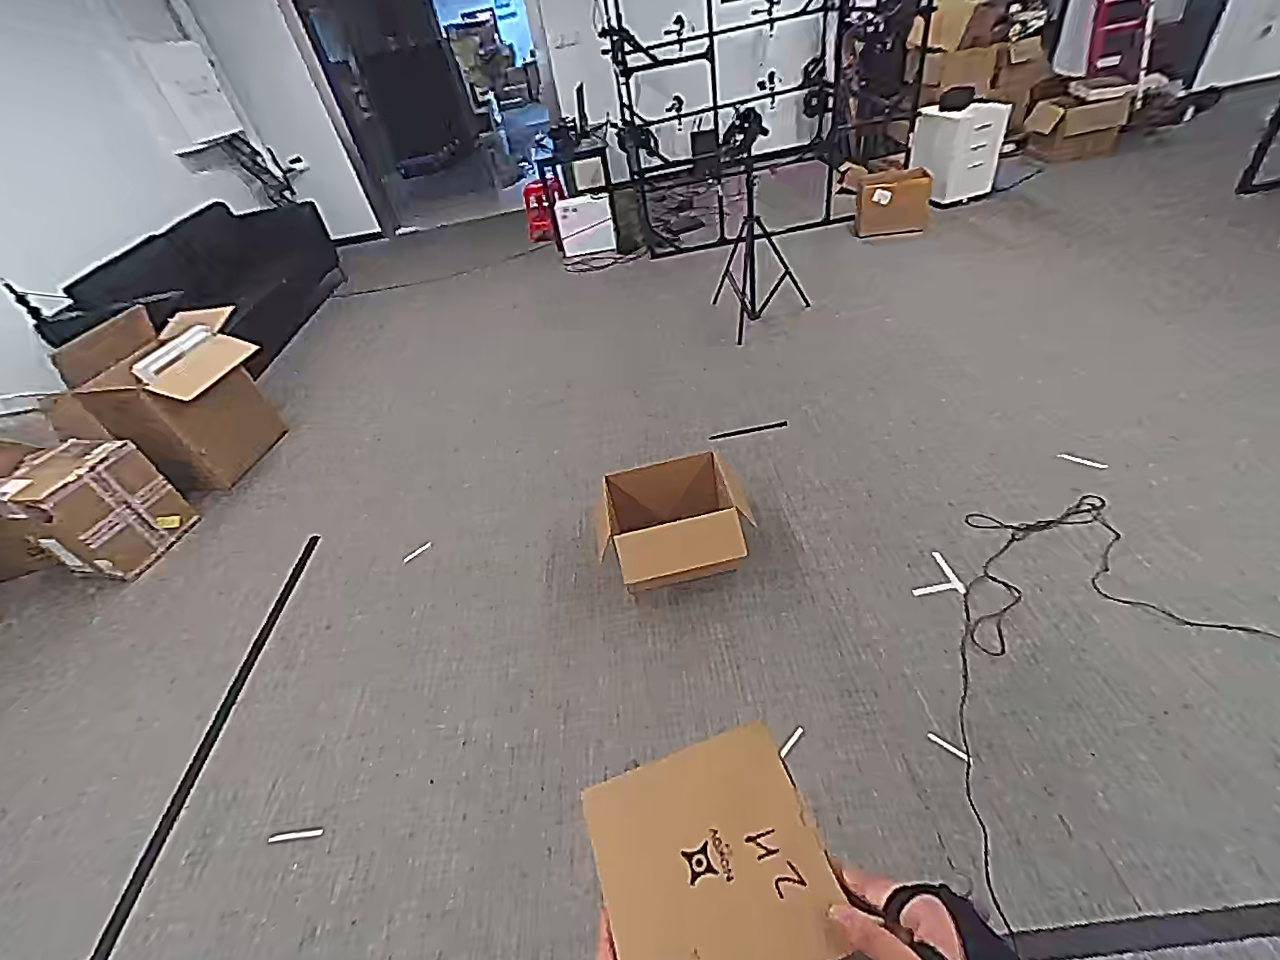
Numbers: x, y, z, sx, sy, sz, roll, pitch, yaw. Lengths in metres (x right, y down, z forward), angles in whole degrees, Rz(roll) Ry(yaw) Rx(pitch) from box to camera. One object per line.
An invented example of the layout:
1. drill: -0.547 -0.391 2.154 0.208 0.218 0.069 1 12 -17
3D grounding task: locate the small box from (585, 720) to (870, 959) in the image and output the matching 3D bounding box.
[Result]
1. small box: 0.068 0.344 0.476 0.179 0.176 0.168 -18 50 -5
